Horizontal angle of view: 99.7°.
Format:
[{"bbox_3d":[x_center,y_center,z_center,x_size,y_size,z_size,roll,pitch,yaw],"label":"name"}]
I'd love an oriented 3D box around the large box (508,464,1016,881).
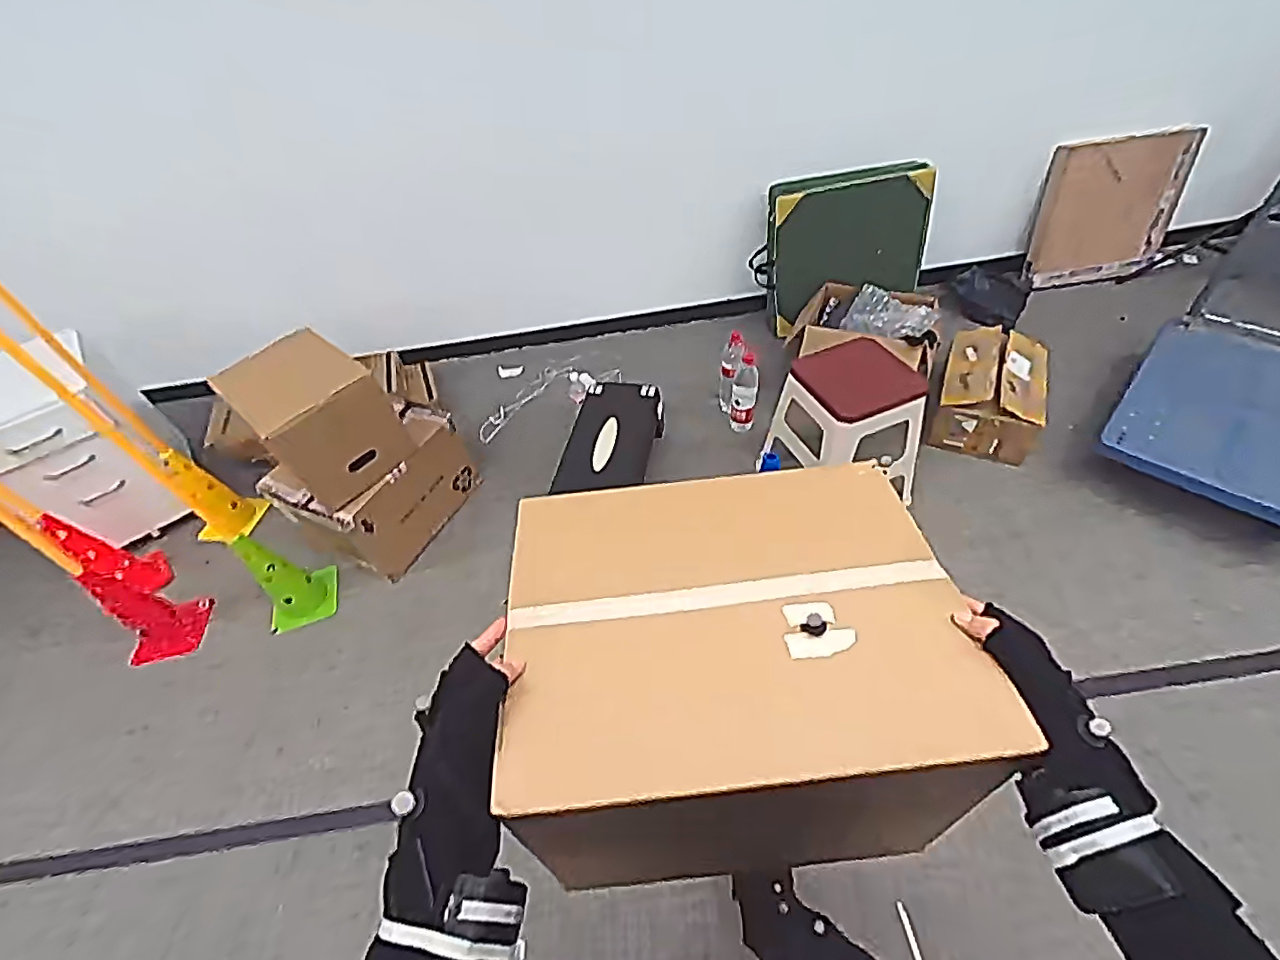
[{"bbox_3d":[0.090,0.216,0.618,0.408,0.320,0.320,-6,44,-1],"label":"large box"}]
